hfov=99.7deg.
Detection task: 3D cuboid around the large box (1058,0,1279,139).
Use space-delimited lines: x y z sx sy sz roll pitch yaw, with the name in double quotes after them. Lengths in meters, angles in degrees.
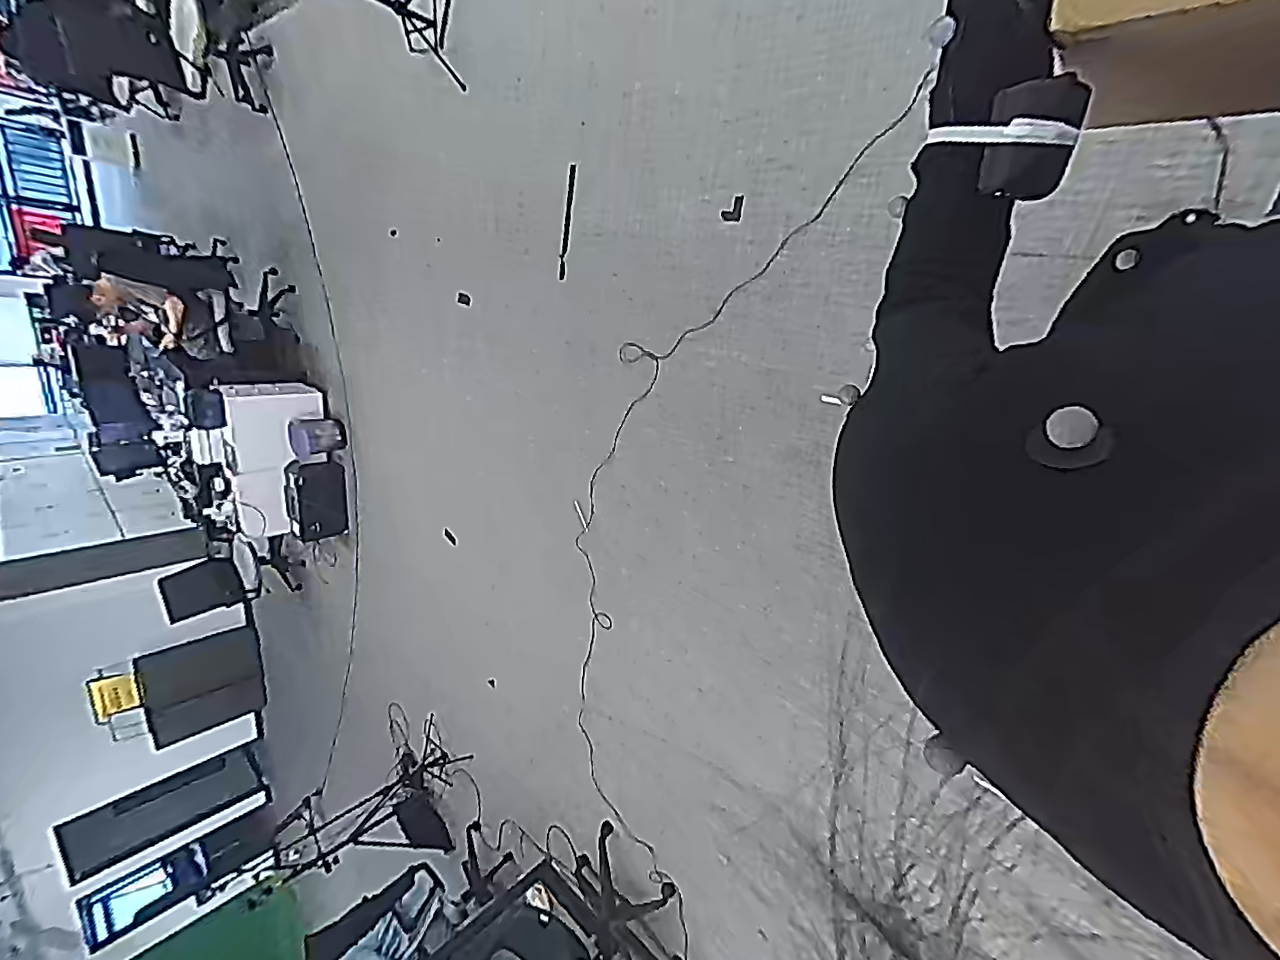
0.506 -0.402 0.275 0.408 0.320 0.320 18 118 36 "large box"
